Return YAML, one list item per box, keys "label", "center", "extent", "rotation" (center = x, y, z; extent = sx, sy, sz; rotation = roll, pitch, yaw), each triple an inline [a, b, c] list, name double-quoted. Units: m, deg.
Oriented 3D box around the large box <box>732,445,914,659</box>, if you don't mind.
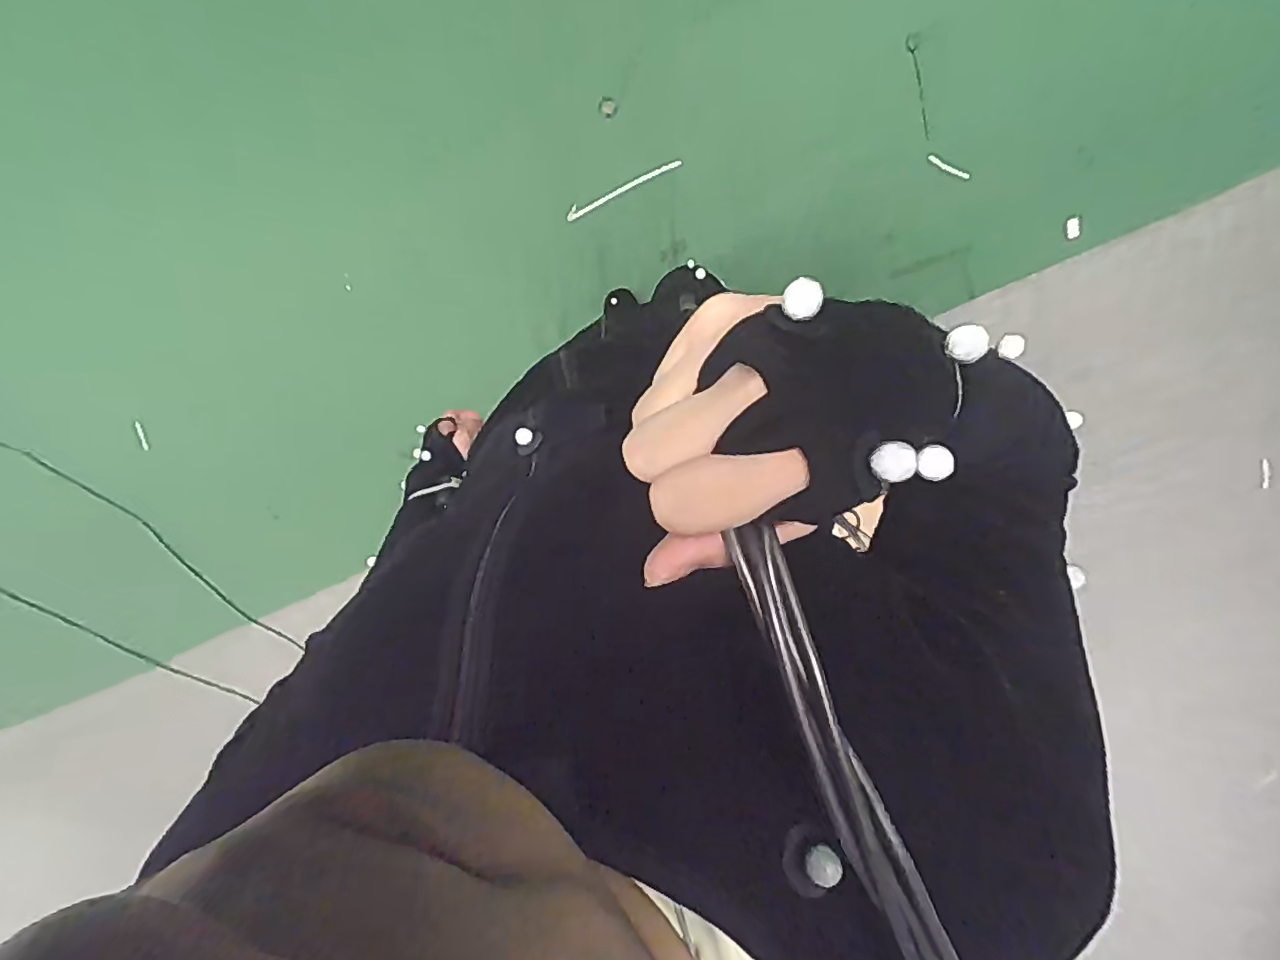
- label: "large box"
  center: [0.461, 0.175, 1.408]
  extent: [0.320, 0.320, 0.408]
  rotation: [-18, 112, 7]
